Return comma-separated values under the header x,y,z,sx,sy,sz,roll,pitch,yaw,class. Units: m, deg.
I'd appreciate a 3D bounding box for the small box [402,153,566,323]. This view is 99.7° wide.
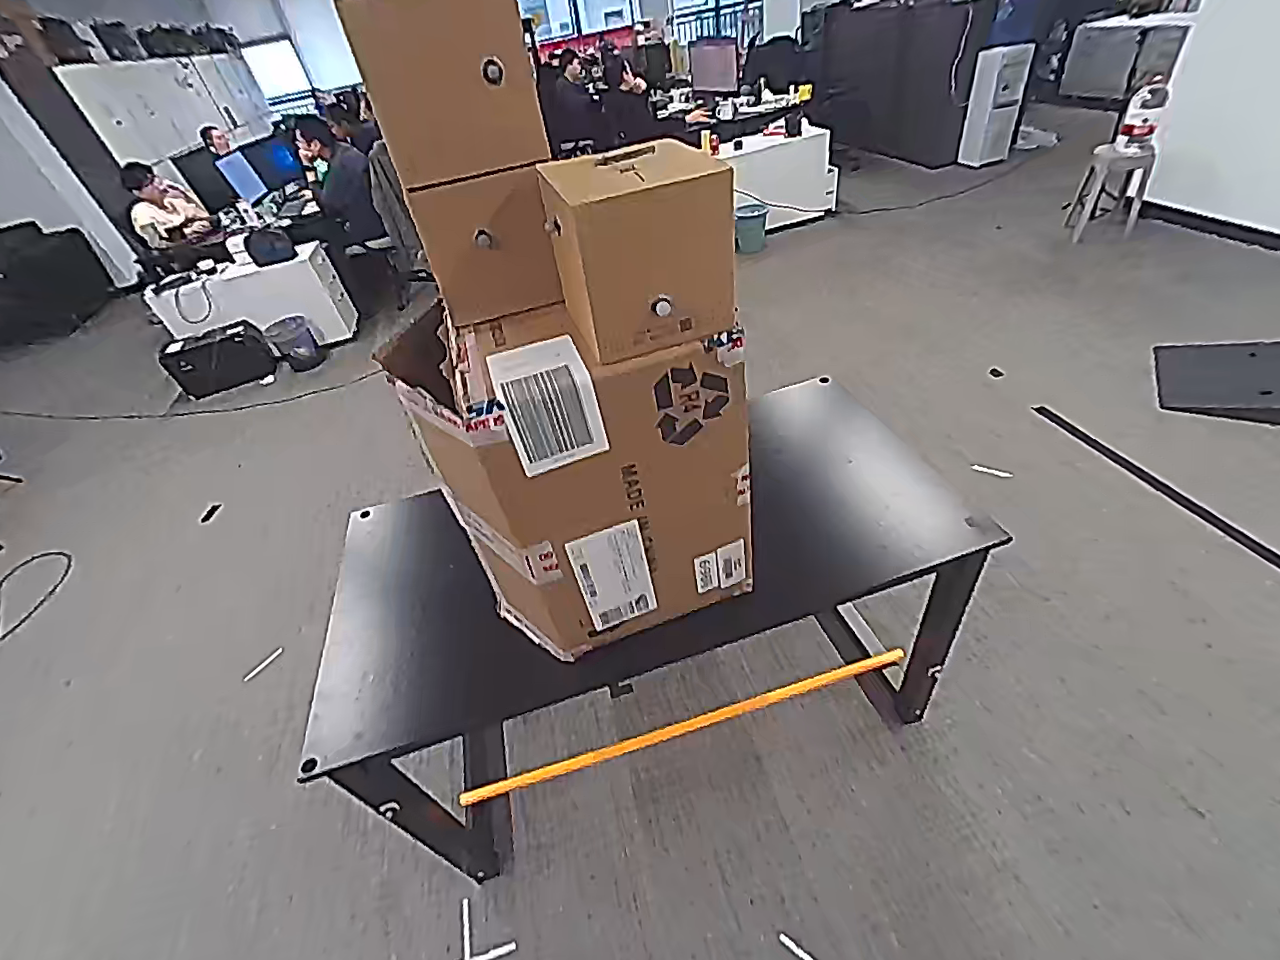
x,y,z,sx,sy,sz,roll,pitch,yaw,class
-0.200,-0.333,0.735,0.179,0.176,0.168,-19,40,-9,small box

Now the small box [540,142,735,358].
x,y,z,sx,sy,sz,roll,pitch,yaw,class
-0.004,-0.263,0.614,0.168,0.176,0.179,-18,43,-9,small box

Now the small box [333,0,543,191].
x,y,z,sx,sy,sz,roll,pitch,yaw,class
-0.222,-0.455,0.629,0.179,0.176,0.168,-20,39,-11,small box
